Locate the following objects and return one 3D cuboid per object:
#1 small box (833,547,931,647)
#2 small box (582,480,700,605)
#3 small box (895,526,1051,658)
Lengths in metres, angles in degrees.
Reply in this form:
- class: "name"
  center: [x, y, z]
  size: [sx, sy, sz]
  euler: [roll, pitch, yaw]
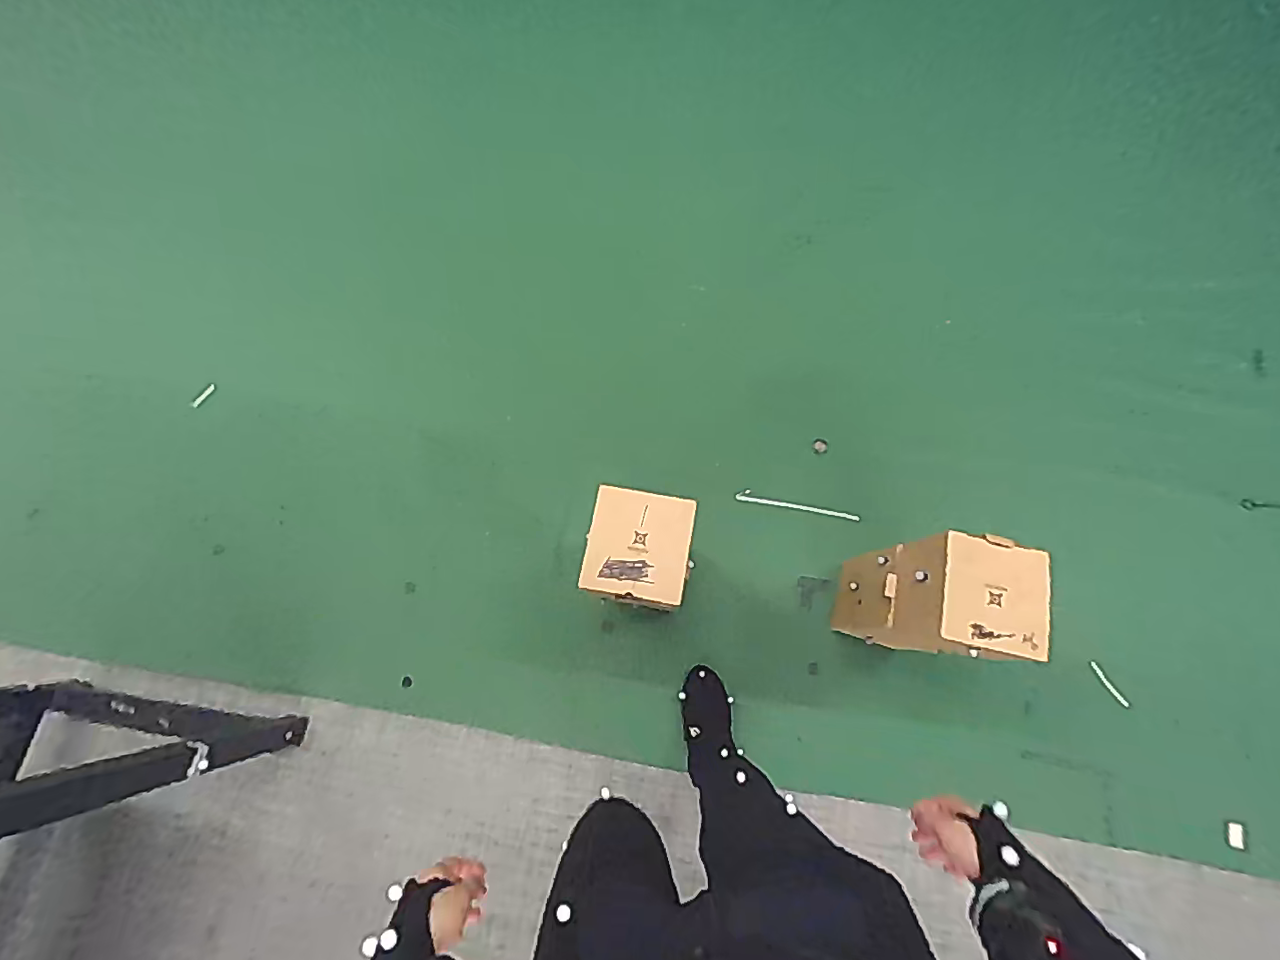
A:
- class: "small box"
  center: [0.564, 0.272, 1.248]
  size: [0.168, 0.176, 0.179]
  euler: [17, 76, 4]
- class: "small box"
  center: [0.005, 0.116, 0.942]
  size: [0.168, 0.176, 0.179]
  euler: [10, 75, 3]
- class: "small box"
  center: [0.560, 0.195, 0.927]
  size: [0.168, 0.176, 0.179]
  euler: [13, 74, 2]
